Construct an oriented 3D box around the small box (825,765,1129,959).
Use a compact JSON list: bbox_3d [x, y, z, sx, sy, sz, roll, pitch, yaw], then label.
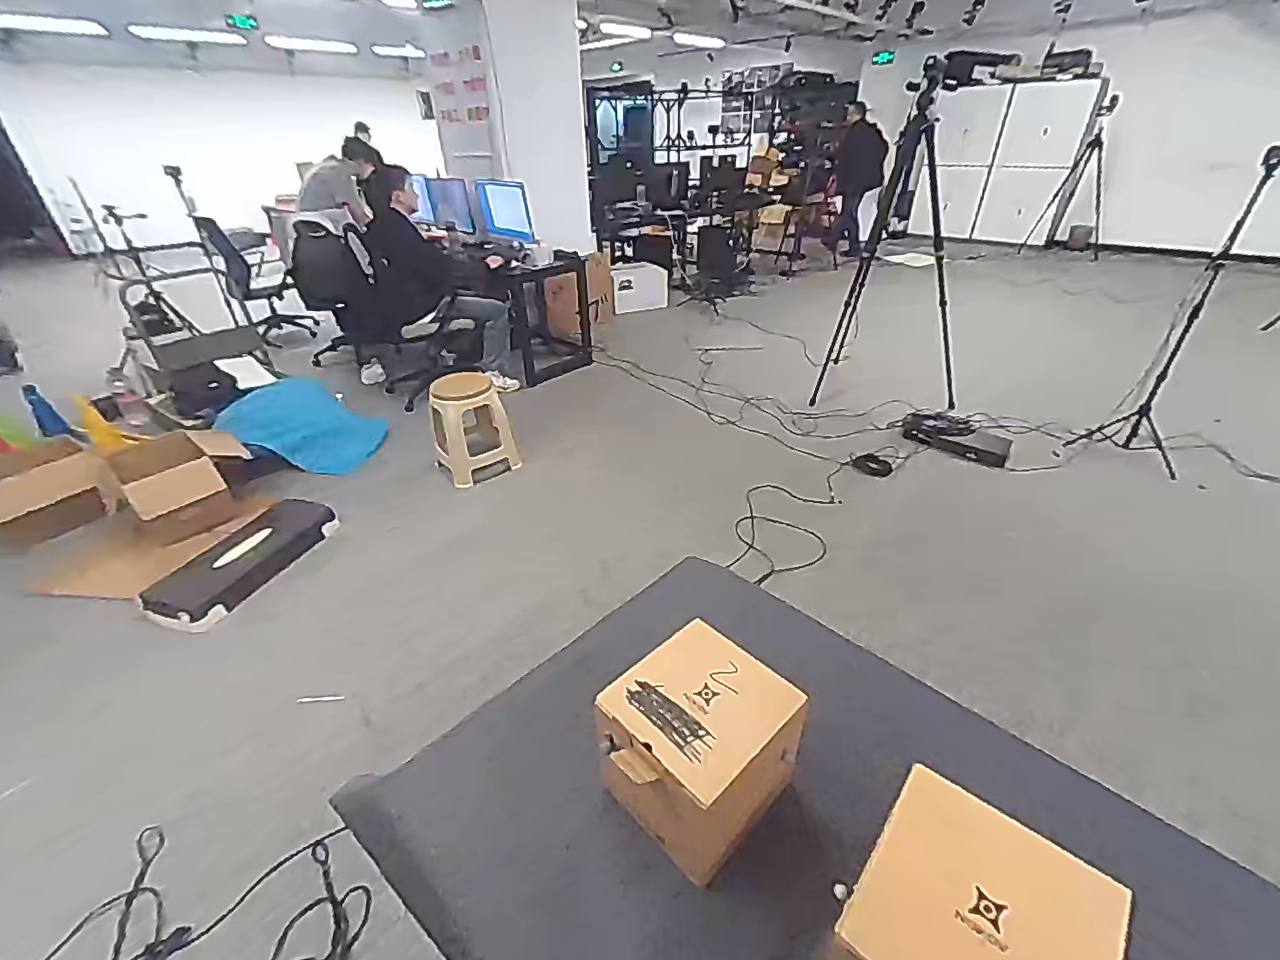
[{"bbox_3d":[0.276,0.405,0.471,0.168,0.176,0.179,25,45,35],"label":"small box"}]
